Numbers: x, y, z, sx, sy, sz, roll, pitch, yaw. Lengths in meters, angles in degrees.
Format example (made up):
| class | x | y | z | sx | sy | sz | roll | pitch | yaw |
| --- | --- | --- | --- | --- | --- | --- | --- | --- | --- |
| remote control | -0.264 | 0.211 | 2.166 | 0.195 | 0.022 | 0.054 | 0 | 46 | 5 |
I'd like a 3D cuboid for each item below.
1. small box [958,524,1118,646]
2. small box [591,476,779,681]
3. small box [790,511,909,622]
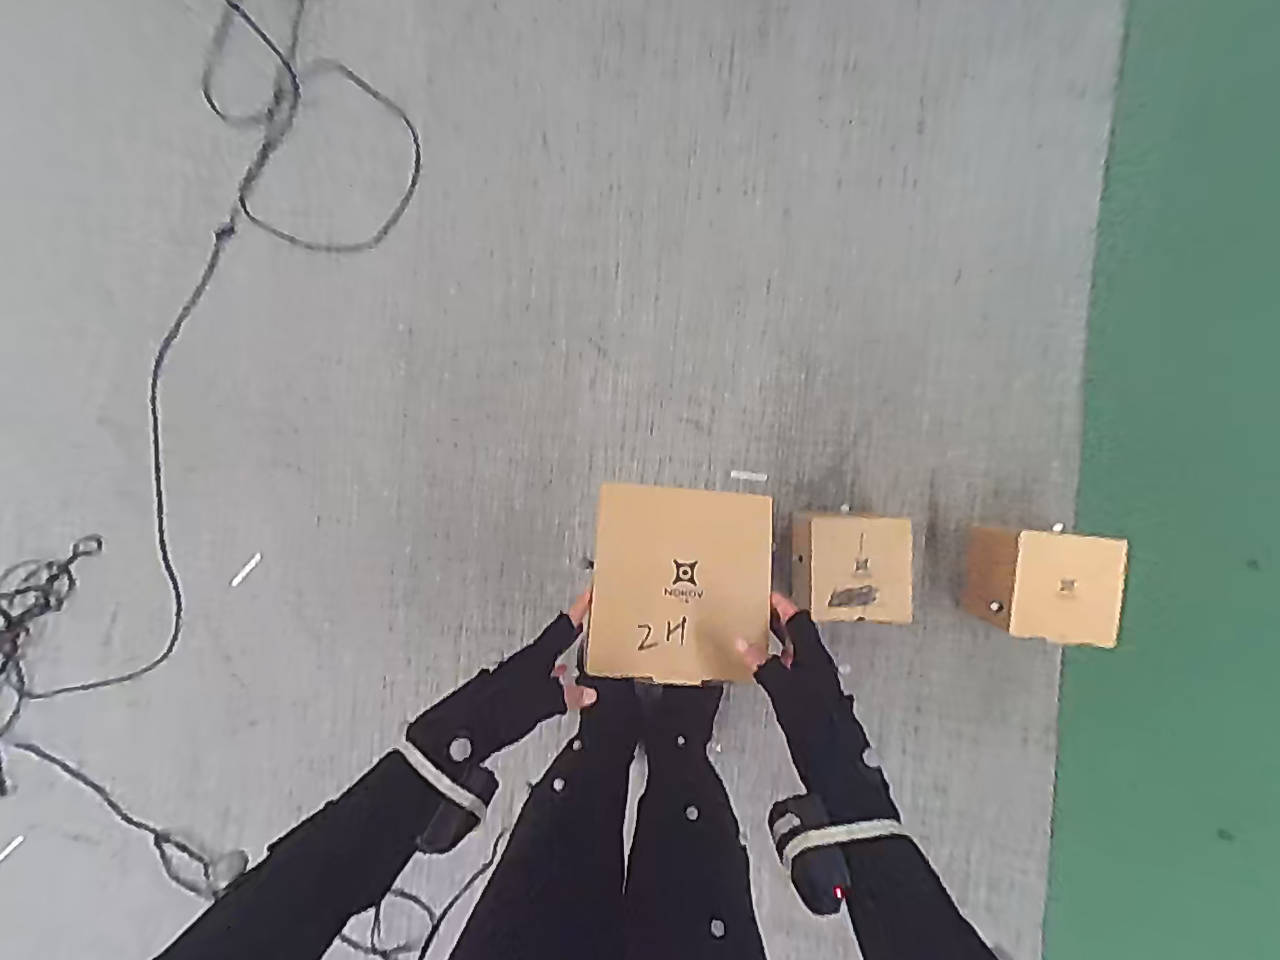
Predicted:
| class | x | y | z | sx | sy | sz | roll | pitch | yaw |
| --- | --- | --- | --- | --- | --- | --- | --- | --- | --- |
| small box | 0.696 | 0.176 | 0.965 | 0.168 | 0.176 | 0.179 | 6 | 91 | 5 |
| small box | 0.037 | 0.102 | 0.570 | 0.168 | 0.176 | 0.179 | 5 | 80 | -5 |
| small box | 0.374 | 0.150 | 0.990 | 0.168 | 0.176 | 0.179 | 0 | 89 | 5 |
